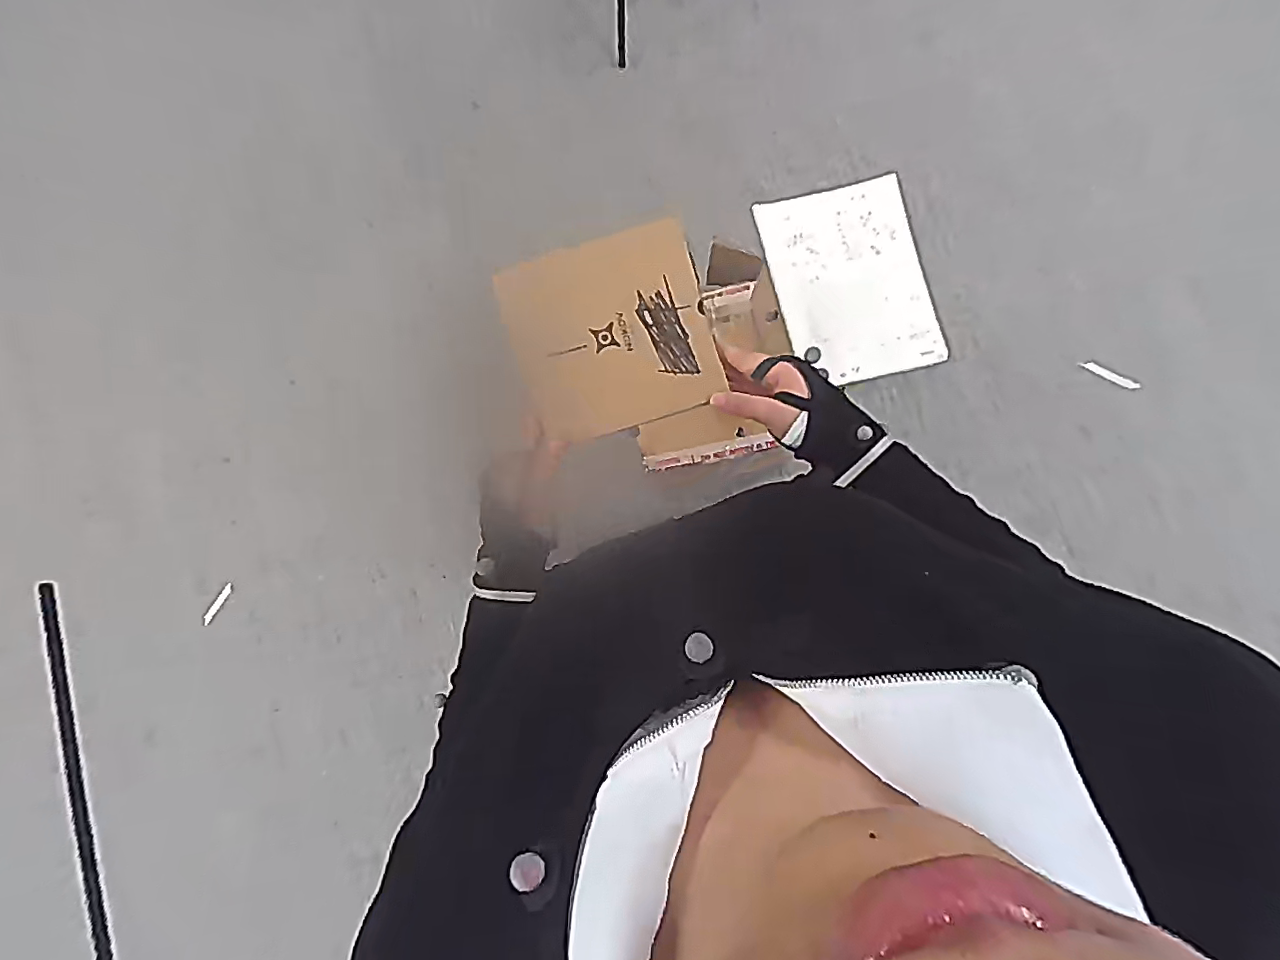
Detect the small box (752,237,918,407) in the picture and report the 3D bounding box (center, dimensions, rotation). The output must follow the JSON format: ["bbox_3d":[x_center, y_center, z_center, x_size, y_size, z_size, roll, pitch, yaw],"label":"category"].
[{"bbox_3d":[0.283,-0.231,0.829,0.168,0.176,0.179,-16,84,0],"label":"small box"}]

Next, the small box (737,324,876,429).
[{"bbox_3d":[0.293,-0.207,0.991,0.179,0.176,0.168,-19,84,1],"label":"small box"}]

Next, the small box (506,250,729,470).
[{"bbox_3d":[-0.022,-0.124,0.584,0.179,0.176,0.168,-17,99,1],"label":"small box"}]
